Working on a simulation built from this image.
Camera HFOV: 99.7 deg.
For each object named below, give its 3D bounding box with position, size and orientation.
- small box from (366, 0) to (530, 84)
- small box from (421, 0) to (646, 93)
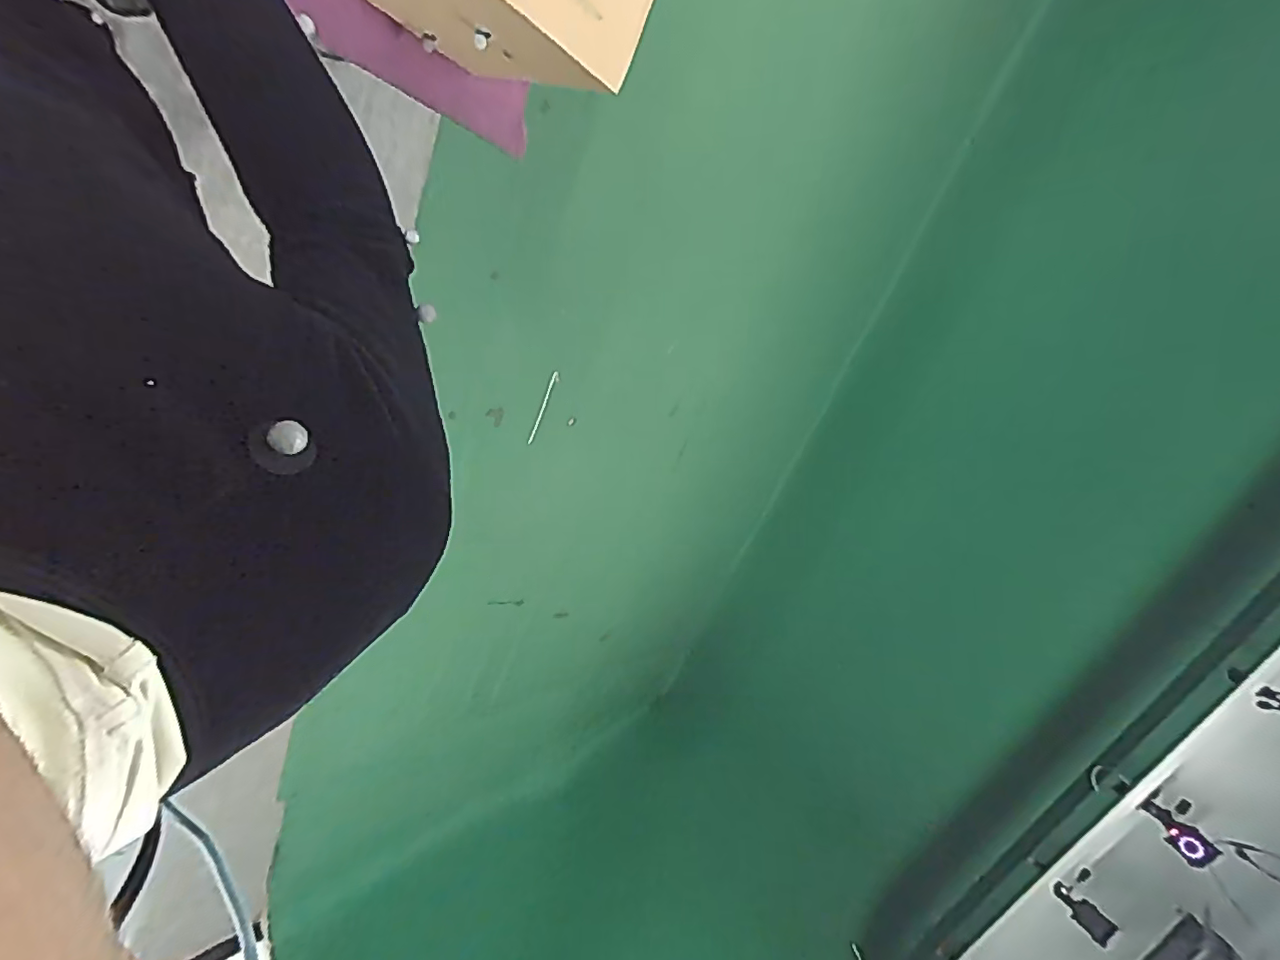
[{"bbox_3d":[-0.212,-0.613,0.637,0.179,0.176,0.168,4,116,-51],"label":"small box"},{"bbox_3d":[-0.101,-0.536,0.546,0.168,0.176,0.179,5,116,-49],"label":"small box"}]
